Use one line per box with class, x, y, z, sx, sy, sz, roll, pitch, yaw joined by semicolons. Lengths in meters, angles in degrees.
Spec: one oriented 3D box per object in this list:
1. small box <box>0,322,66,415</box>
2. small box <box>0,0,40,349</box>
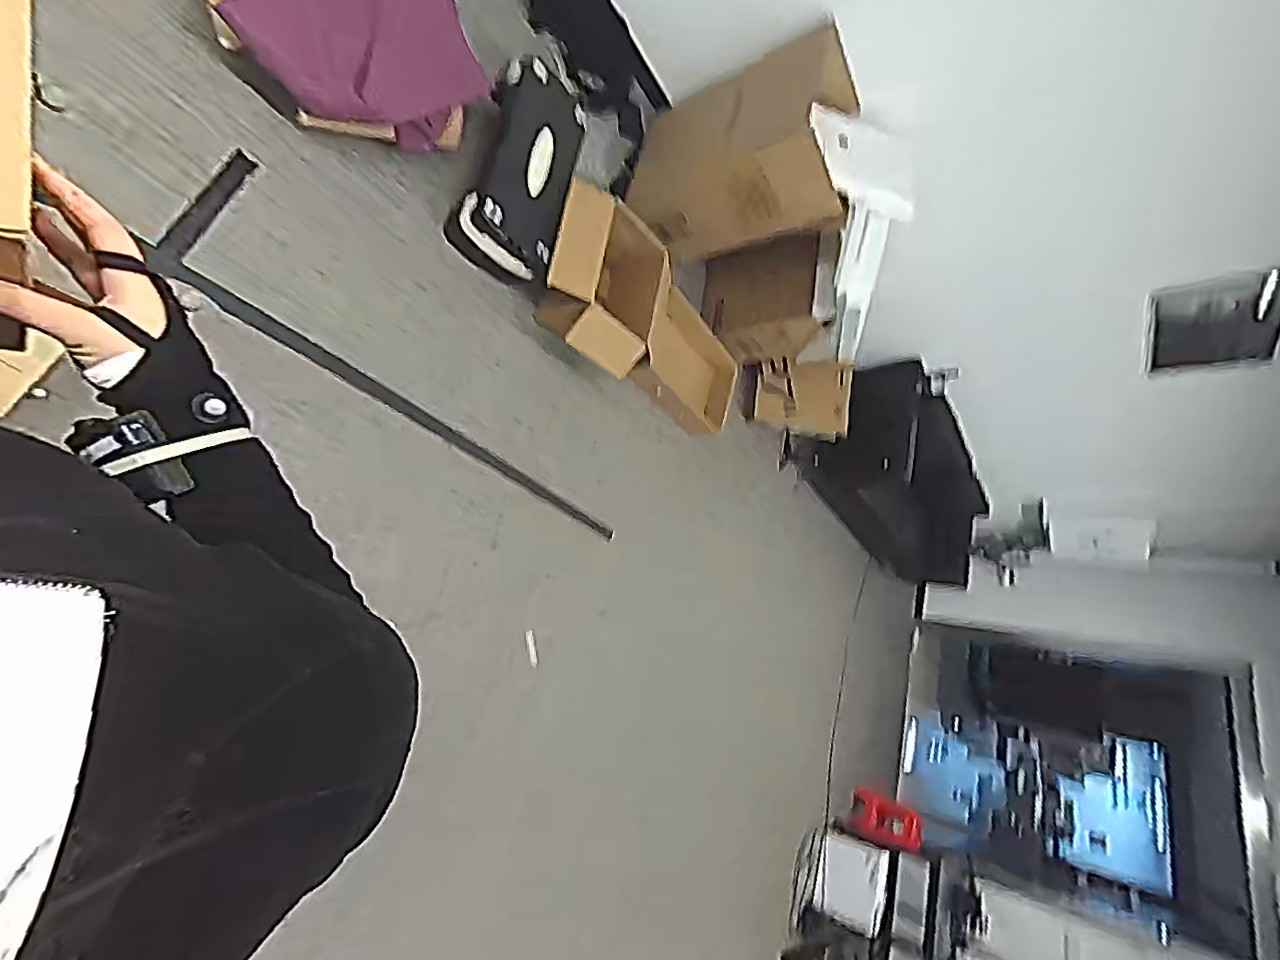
small box;-1.149;-0.217;0.916;0.179;0.176;0.168;44;58;-42
small box;-0.462;-0.196;0.300;0.168;0.176;0.179;-1;77;-50
